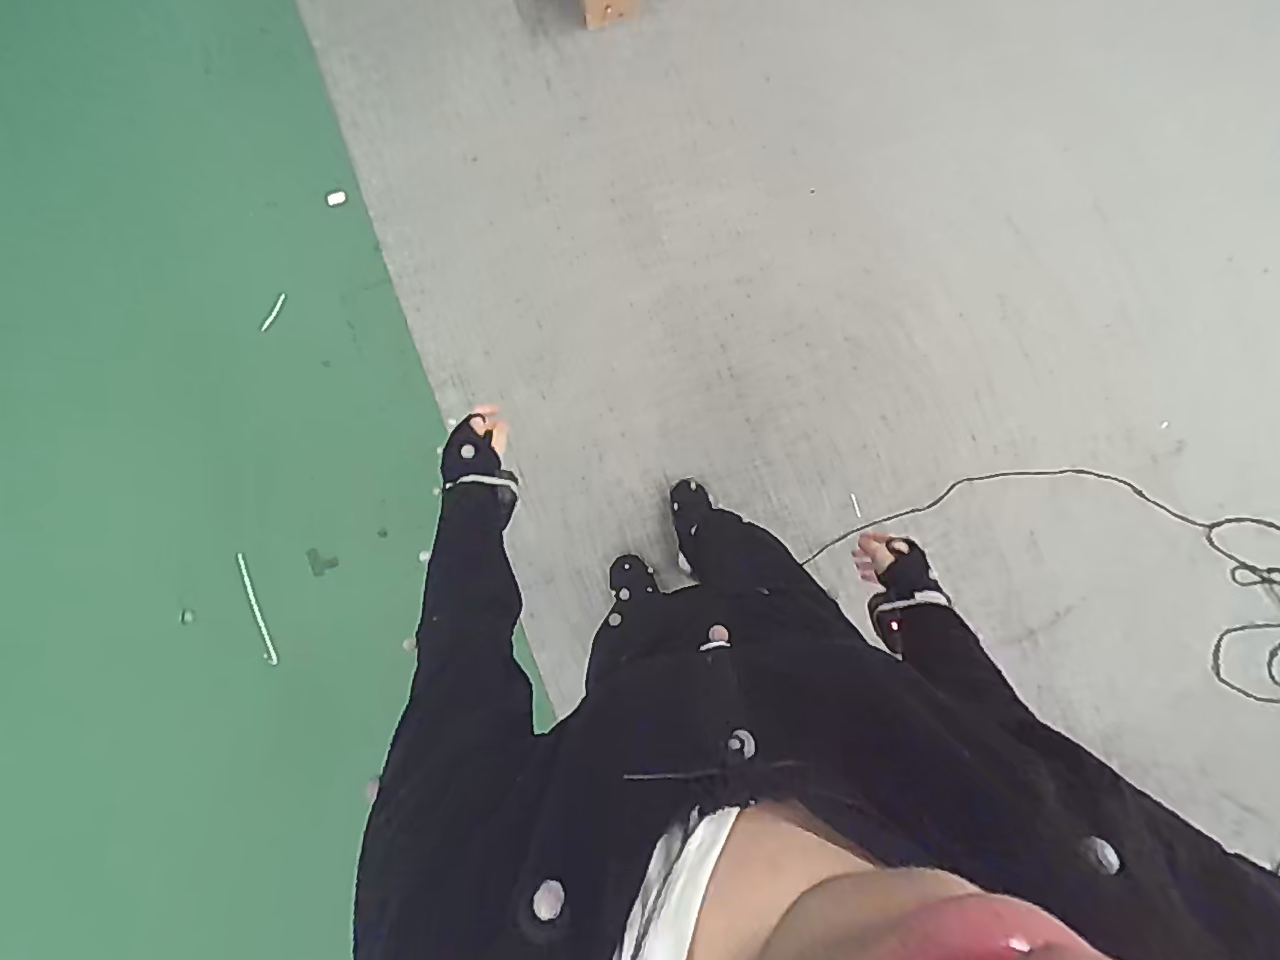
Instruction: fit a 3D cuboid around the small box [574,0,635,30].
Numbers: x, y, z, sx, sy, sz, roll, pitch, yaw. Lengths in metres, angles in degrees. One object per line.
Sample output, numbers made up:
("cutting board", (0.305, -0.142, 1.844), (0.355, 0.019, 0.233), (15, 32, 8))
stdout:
("small box", (-0.113, -1.443, 1.534), (0.168, 0.176, 0.179), (-16, 88, -3))
